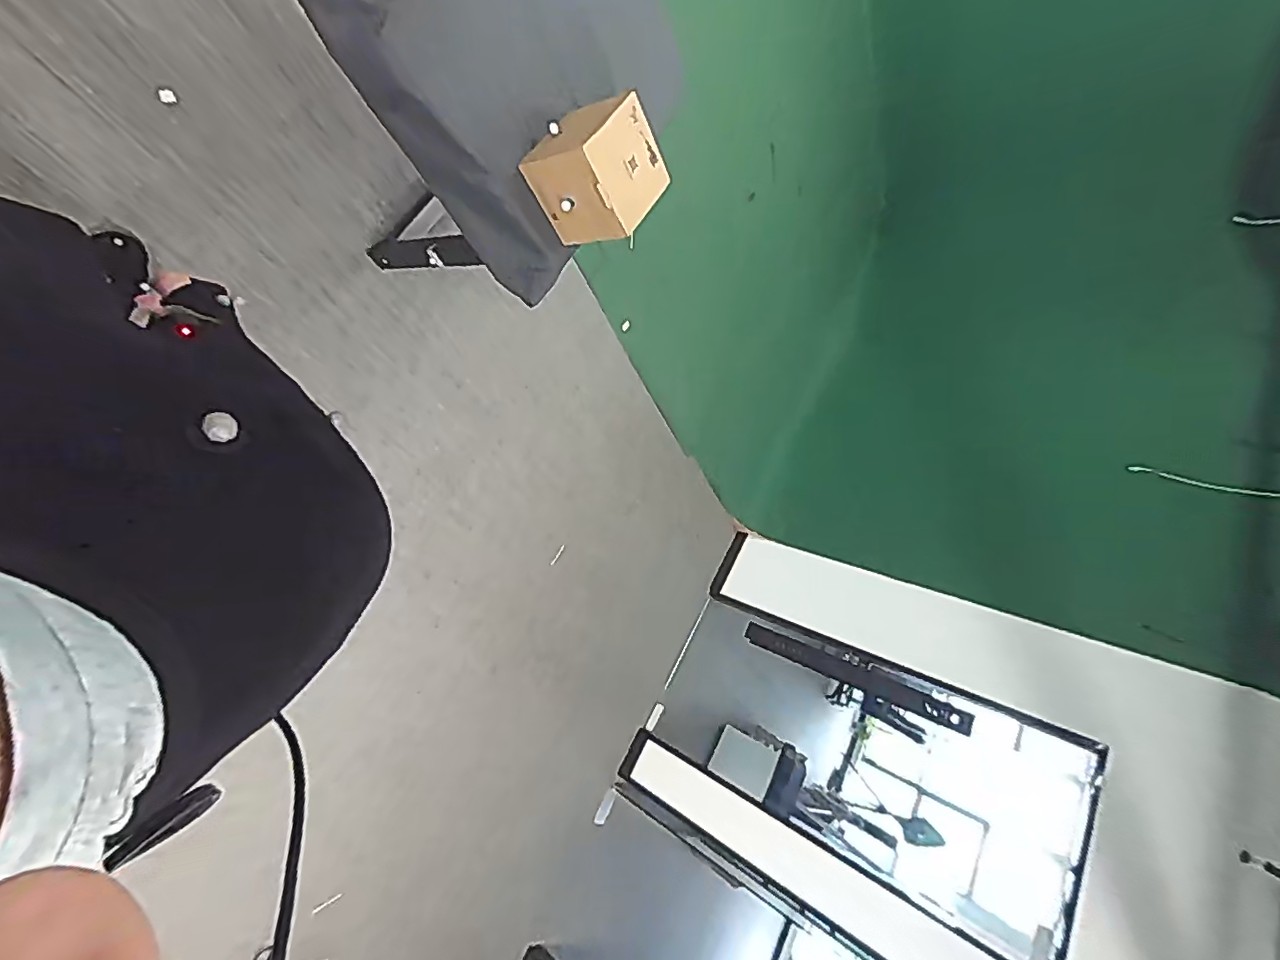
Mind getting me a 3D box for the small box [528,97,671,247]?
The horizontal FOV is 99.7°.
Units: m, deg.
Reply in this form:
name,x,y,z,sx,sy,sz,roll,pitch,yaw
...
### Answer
name,x,y,z,sx,sy,sz,roll,pitch,yaw
small box,-0.078,-0.551,0.990,0.179,0.176,0.168,-58,138,-21
